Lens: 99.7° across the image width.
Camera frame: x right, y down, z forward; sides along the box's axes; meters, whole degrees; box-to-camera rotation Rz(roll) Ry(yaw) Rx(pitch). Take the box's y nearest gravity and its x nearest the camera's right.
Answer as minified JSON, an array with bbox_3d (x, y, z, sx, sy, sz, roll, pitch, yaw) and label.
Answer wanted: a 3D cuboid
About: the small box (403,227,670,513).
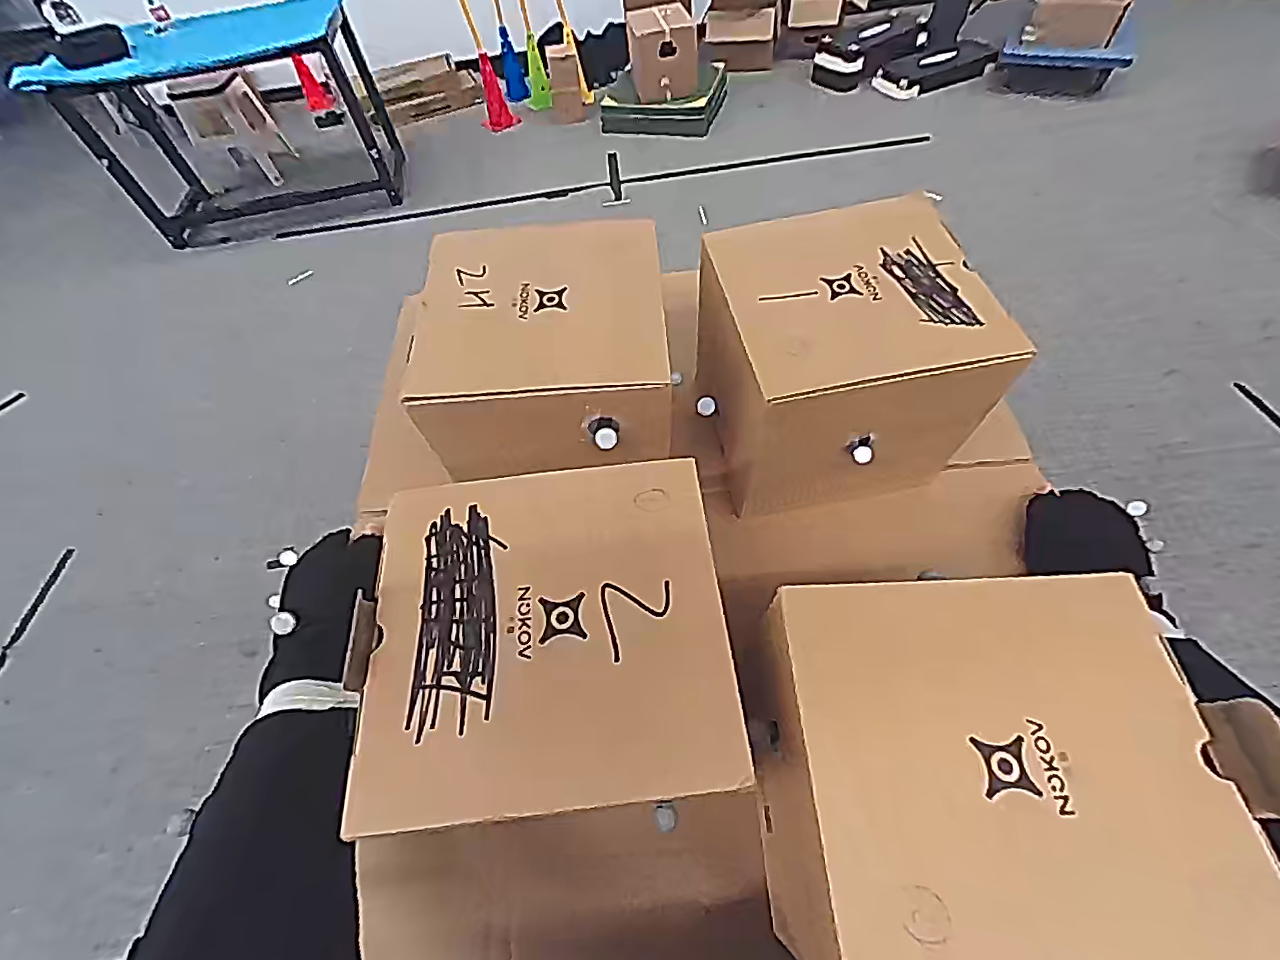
[{"bbox_3d":[-0.067,-0.083,0.457,0.179,0.176,0.168,-4,60,2],"label":"small box"}]
